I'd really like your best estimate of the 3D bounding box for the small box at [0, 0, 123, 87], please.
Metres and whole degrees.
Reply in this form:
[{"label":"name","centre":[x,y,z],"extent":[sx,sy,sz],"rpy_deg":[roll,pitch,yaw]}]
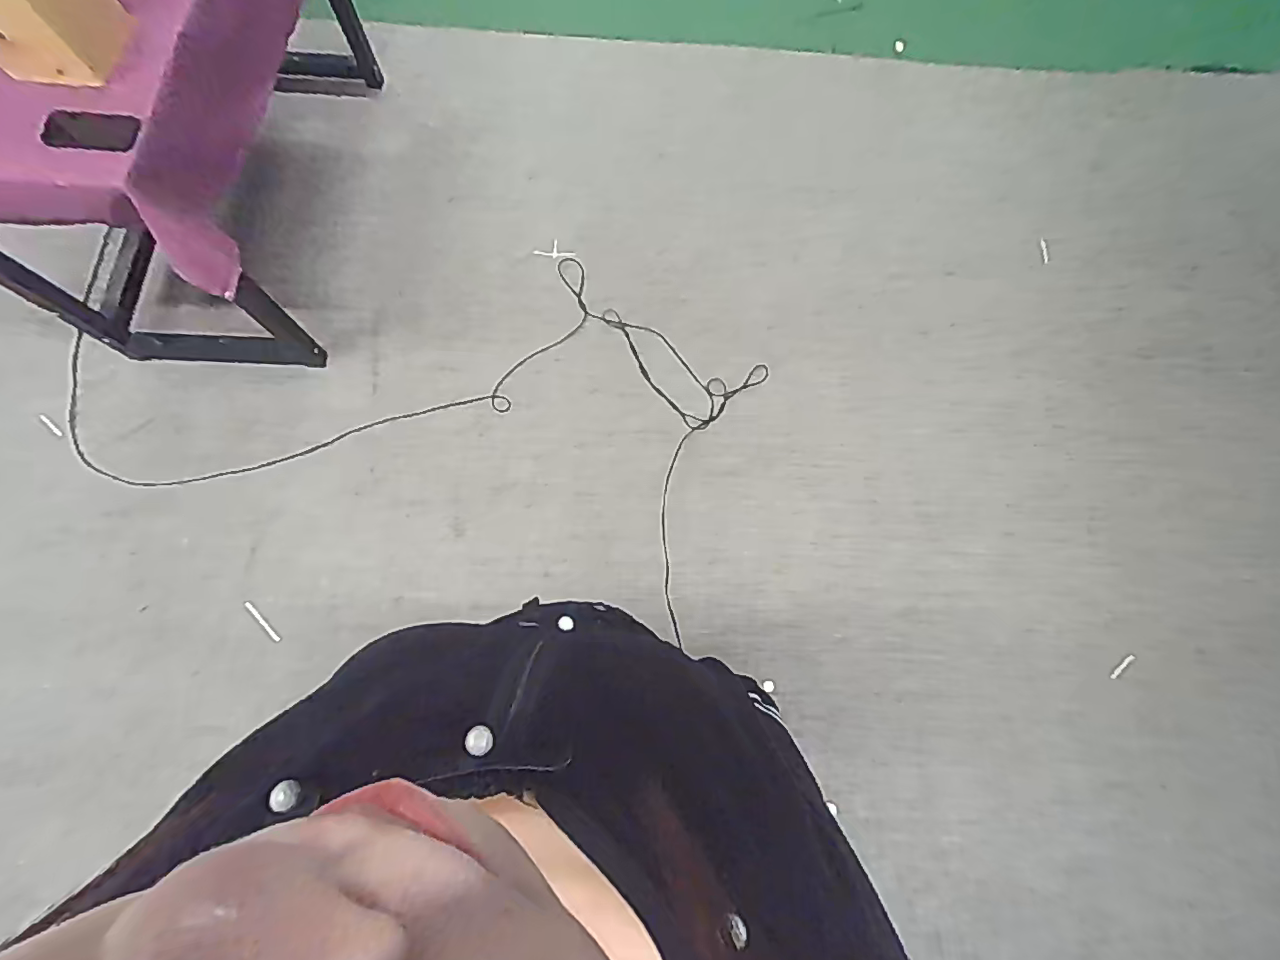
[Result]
[{"label":"small box","centre":[-1.081,-0.836,0.953],"extent":[0.168,0.176,0.179],"rpy_deg":[3,73,-2]}]
